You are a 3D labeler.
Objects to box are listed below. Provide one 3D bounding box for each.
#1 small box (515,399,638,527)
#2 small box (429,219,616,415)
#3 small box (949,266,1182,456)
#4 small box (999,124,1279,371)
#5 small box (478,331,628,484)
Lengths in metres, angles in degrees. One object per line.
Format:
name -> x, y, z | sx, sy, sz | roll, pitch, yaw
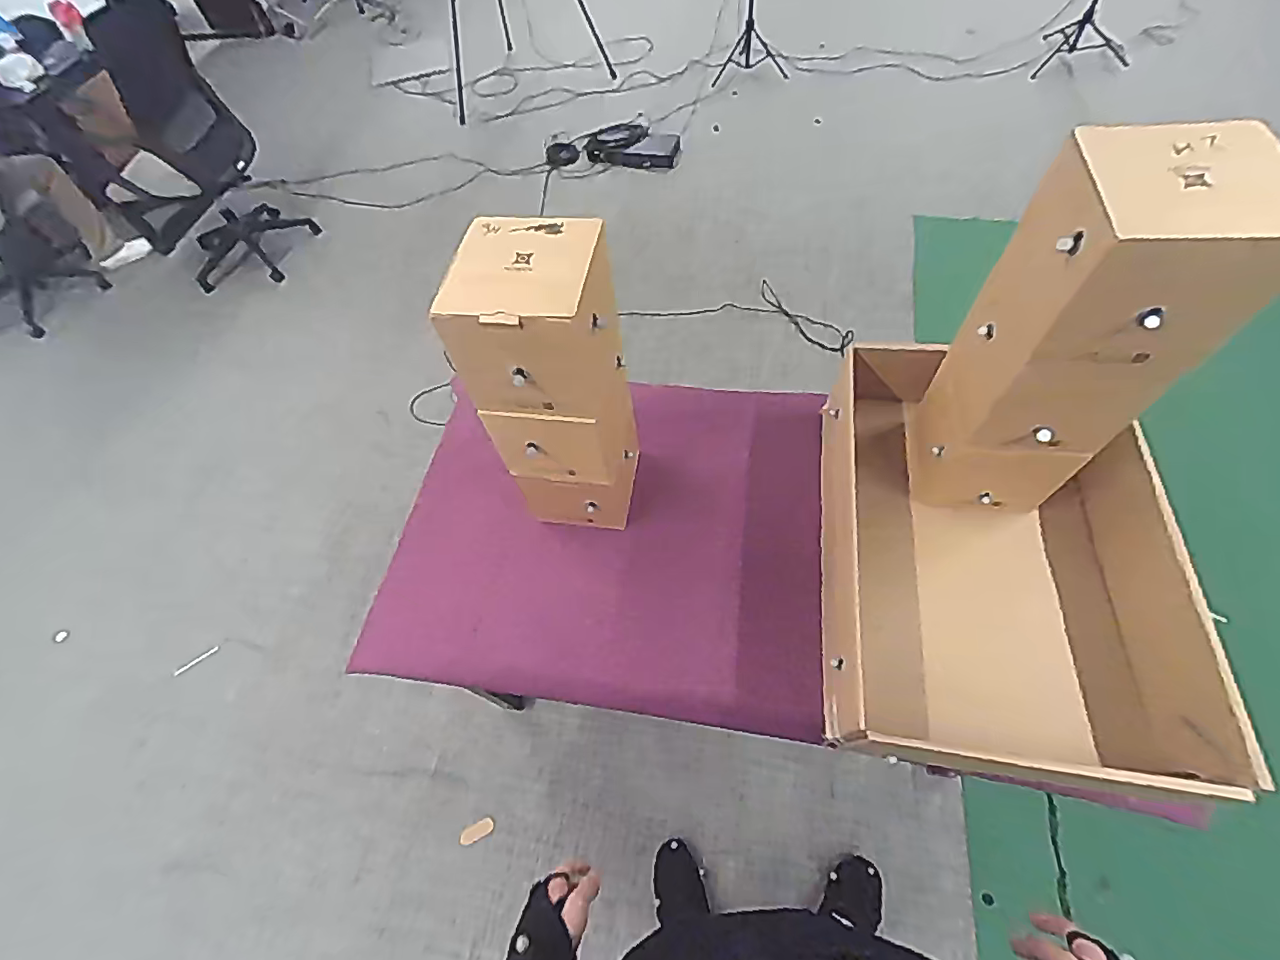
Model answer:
small box -> -0.101, -0.031, 0.960 | 0.168, 0.176, 0.179 | 6, 60, 9
small box -> -0.130, -0.199, 0.682 | 0.168, 0.176, 0.179 | 5, 60, 8
small box -> 0.527, -0.153, 0.705 | 0.168, 0.176, 0.179 | 3, 61, 10
small box -> 0.508, -0.232, 0.561 | 0.168, 0.176, 0.179 | 5, 61, 10
small box -> -0.117, -0.111, 0.820 | 0.168, 0.176, 0.179 | 5, 59, 9
